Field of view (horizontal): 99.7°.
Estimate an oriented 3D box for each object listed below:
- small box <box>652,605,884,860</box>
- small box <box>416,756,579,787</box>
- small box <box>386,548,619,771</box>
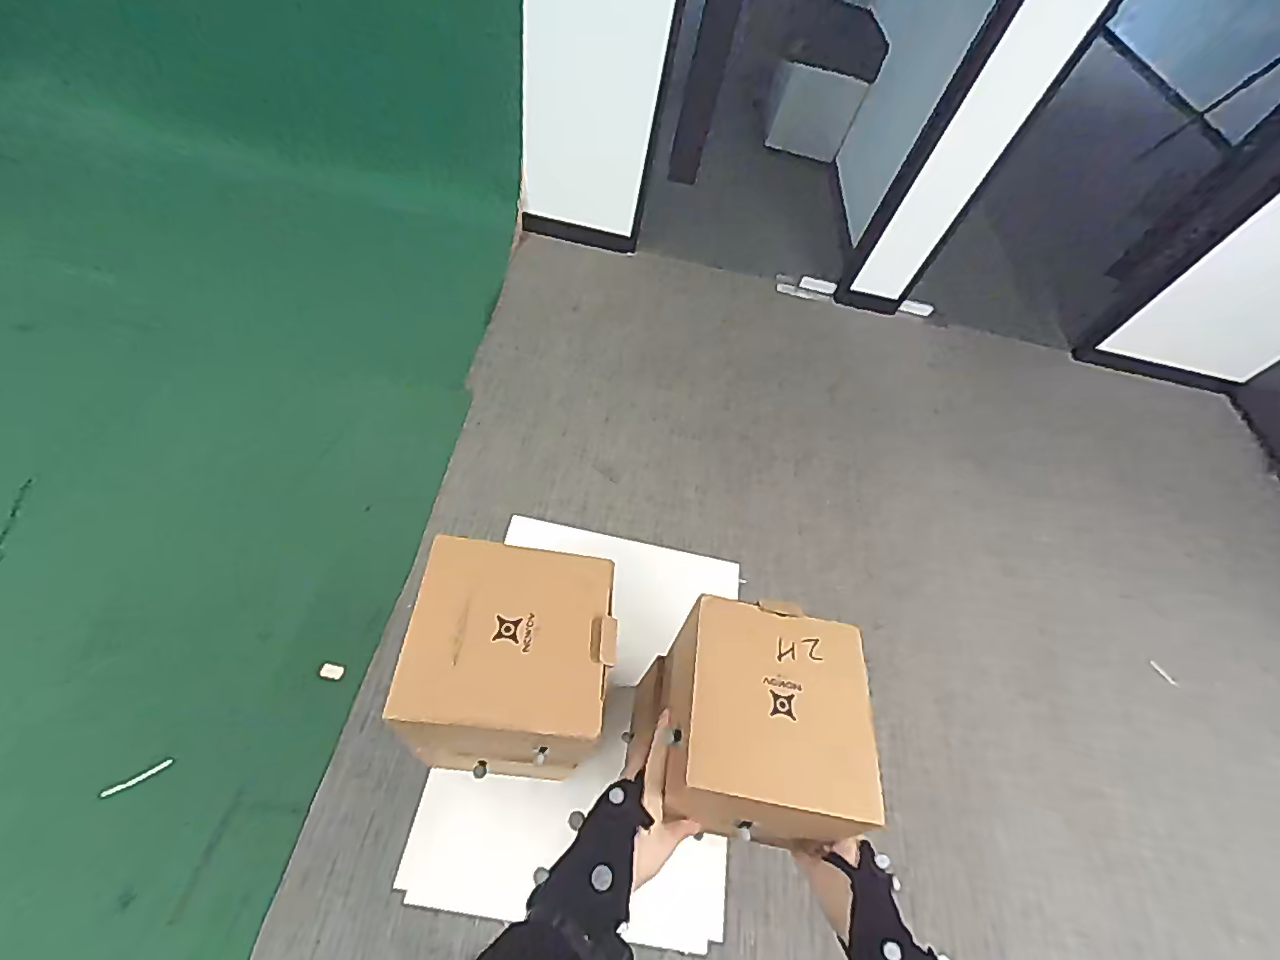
[{"bbox_3d":[0.113,0.256,0.539,0.168,0.176,0.179,14,48,-3],"label":"small box"},{"bbox_3d":[-0.160,0.279,0.675,0.179,0.176,0.168,11,55,-8],"label":"small box"},{"bbox_3d":[-0.127,0.188,0.543,0.179,0.176,0.168,9,54,-8],"label":"small box"}]
